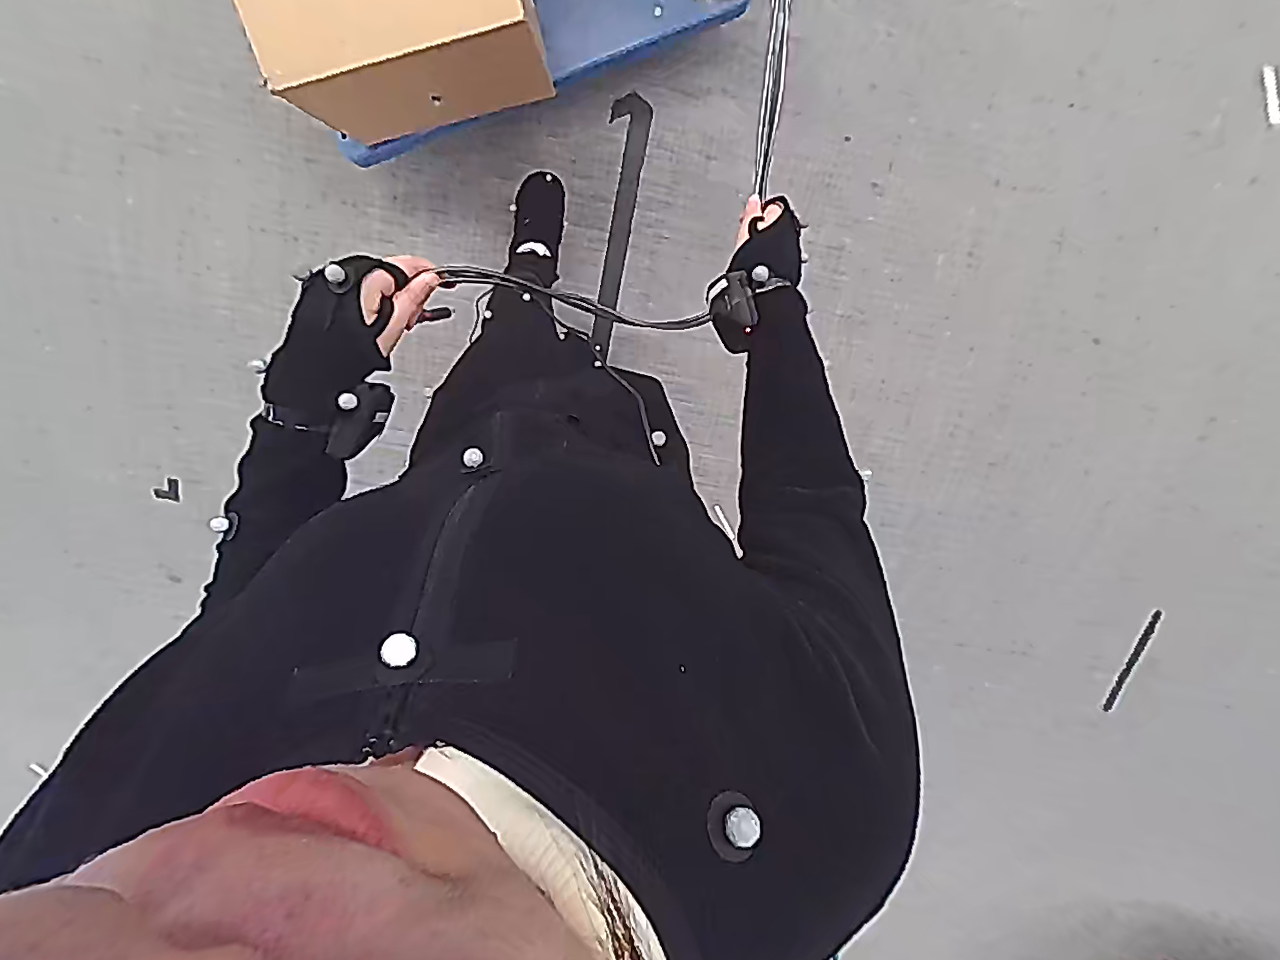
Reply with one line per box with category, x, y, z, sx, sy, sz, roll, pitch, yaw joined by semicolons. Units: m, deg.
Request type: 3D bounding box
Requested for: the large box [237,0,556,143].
large box;-0.390;-0.809;0.888;0.408;0.320;0.320;-13;108;4
